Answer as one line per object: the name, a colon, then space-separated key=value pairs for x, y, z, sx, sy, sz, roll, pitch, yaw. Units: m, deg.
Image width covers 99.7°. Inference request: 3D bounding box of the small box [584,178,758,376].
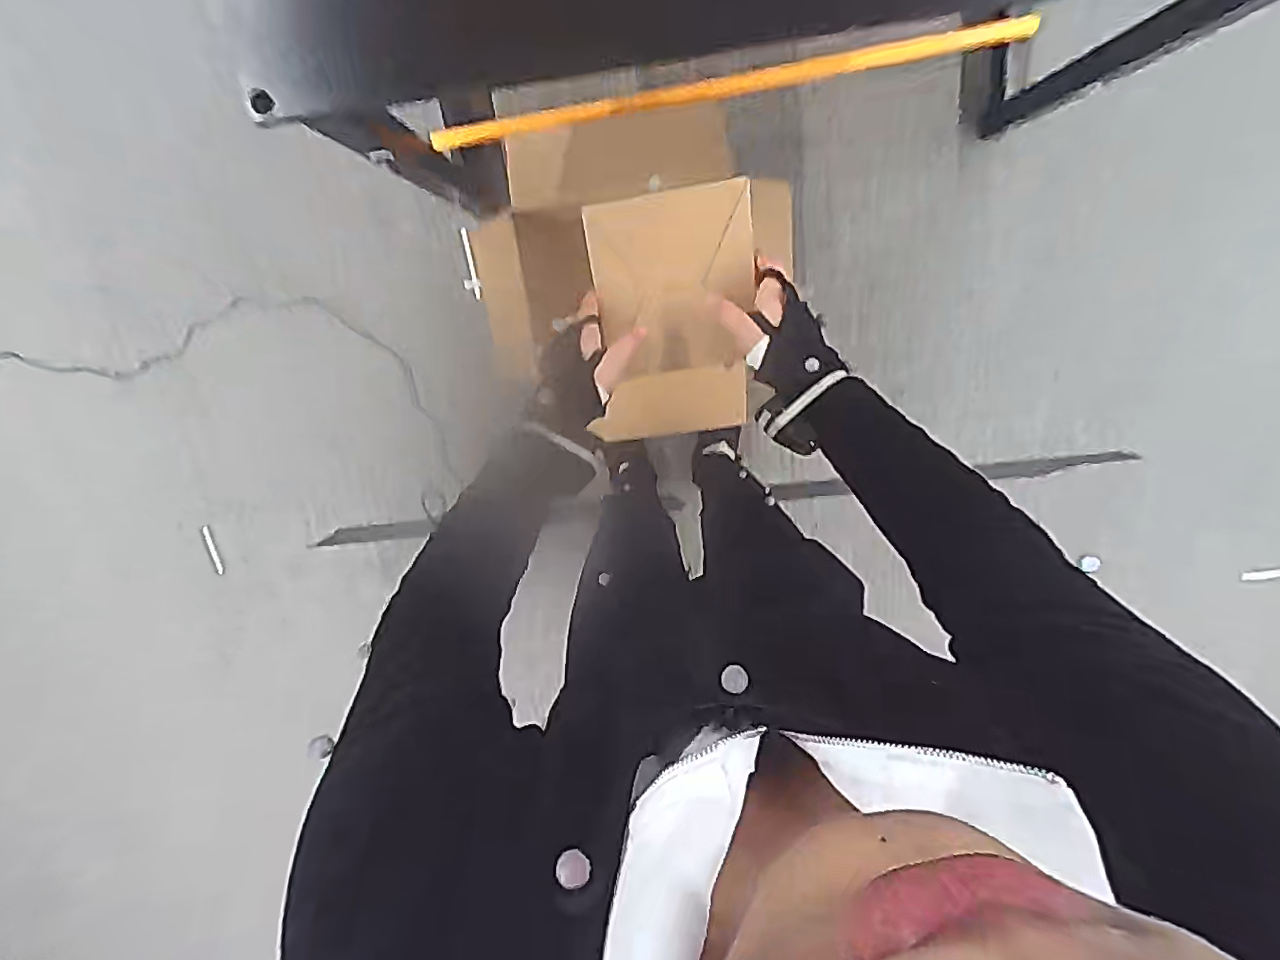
small box: x=0.037 y=-0.229 z=0.619 sx=0.168 sy=0.176 sz=0.179 roll=-8 pitch=115 yaw=5
